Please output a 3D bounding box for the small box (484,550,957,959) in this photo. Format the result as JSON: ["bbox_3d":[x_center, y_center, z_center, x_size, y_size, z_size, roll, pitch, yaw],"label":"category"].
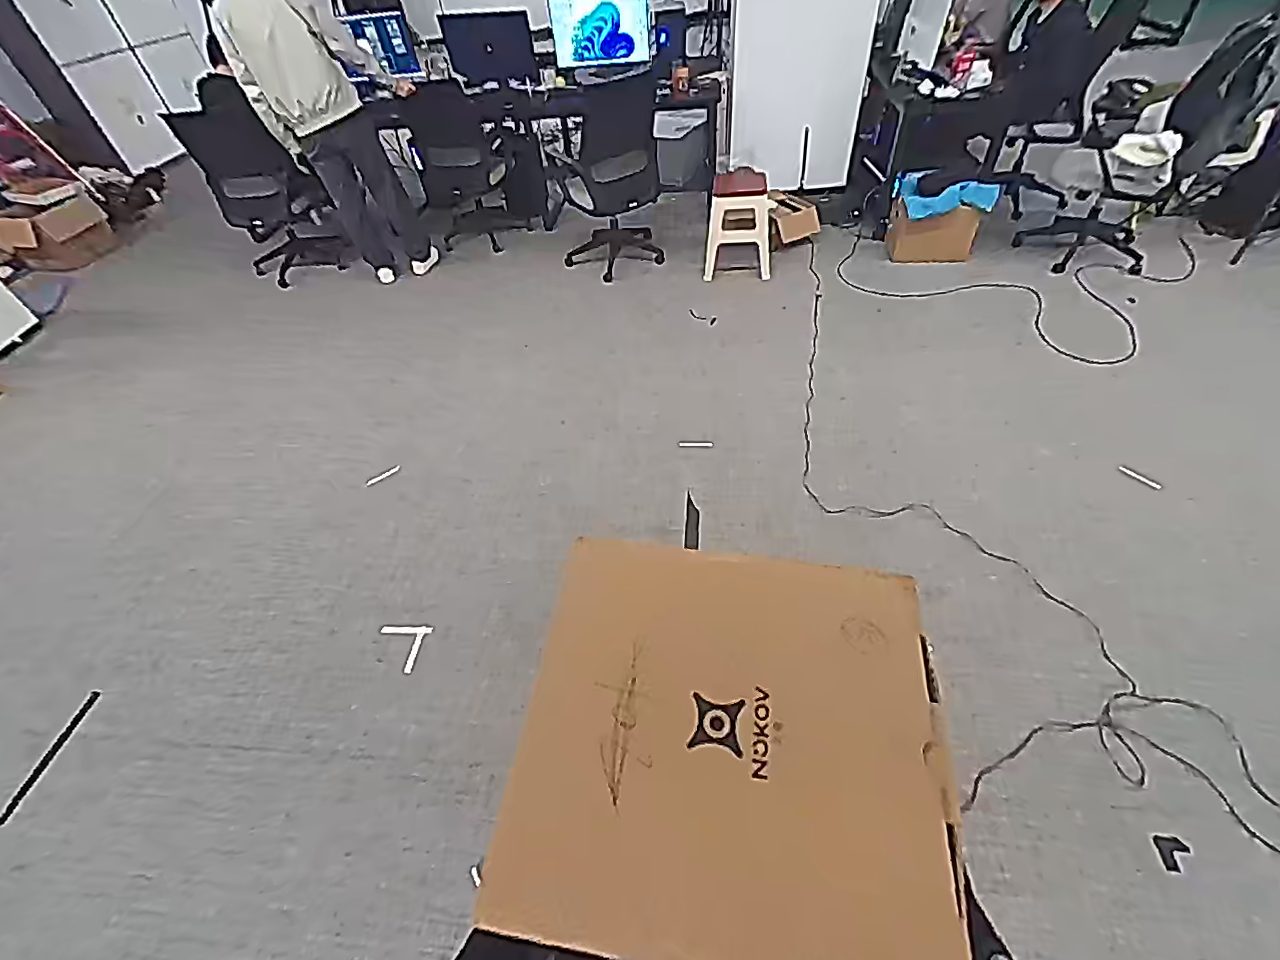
[{"bbox_3d":[0.043,0.159,0.304,0.179,0.176,0.168,5,54,9],"label":"small box"}]
